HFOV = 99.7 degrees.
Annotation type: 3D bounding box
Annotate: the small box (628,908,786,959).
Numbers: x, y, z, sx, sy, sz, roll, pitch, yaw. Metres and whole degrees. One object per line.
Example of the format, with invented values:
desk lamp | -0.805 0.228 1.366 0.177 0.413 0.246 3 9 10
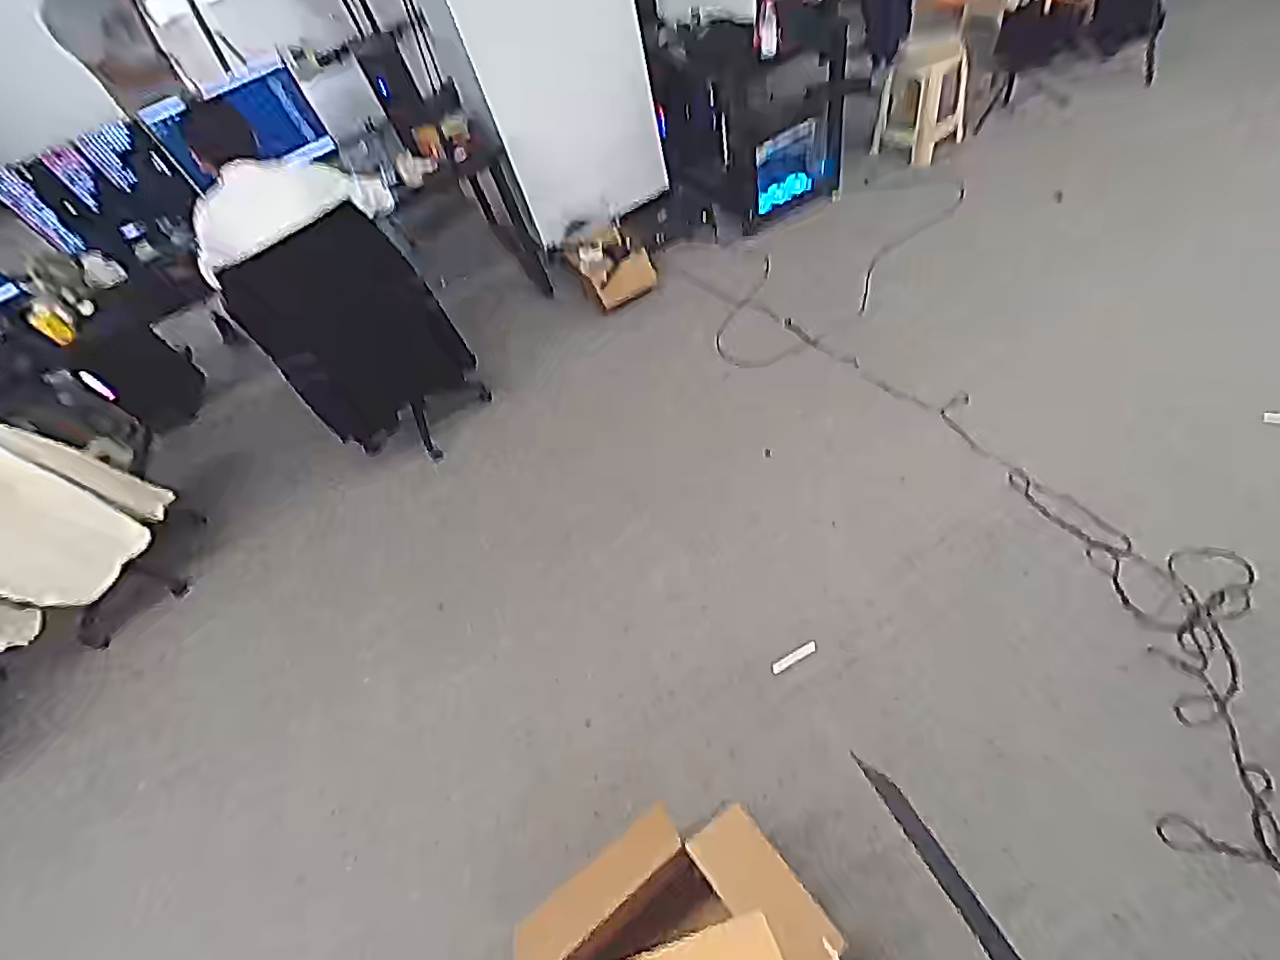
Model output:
small box | 0.082 0.580 0.526 0.179 0.176 0.168 -14 24 -11
